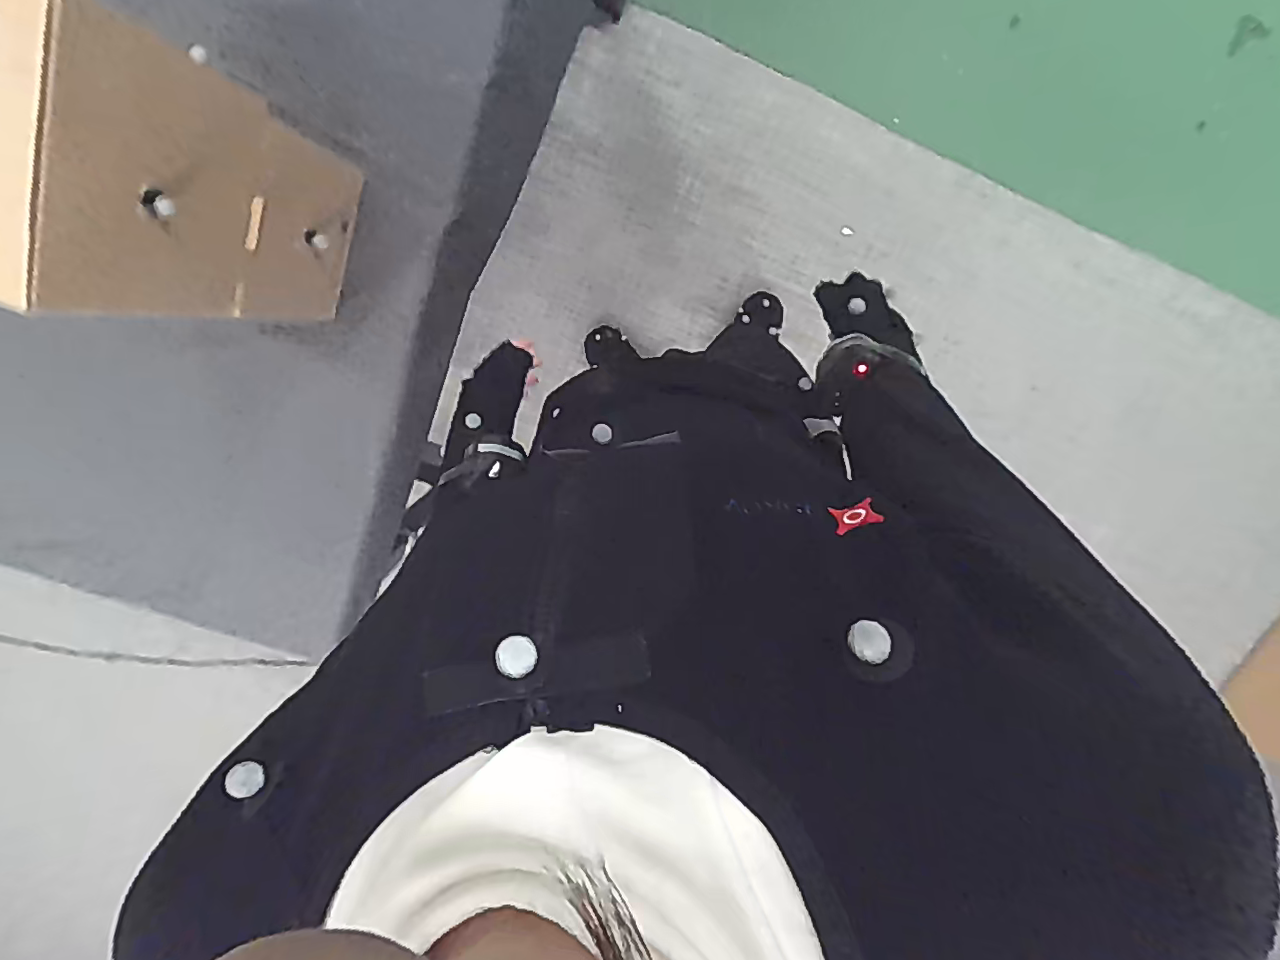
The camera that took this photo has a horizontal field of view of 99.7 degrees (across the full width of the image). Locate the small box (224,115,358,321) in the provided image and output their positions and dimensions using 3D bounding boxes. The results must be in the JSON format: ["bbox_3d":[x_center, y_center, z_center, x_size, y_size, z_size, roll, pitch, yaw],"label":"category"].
[{"bbox_3d":[-0.406,-0.266,0.524,0.179,0.176,0.168,19,106,-7],"label":"small box"}]

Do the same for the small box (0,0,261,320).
[{"bbox_3d":[-0.398,-0.223,0.365,0.168,0.176,0.179,20,106,-7],"label":"small box"}]
